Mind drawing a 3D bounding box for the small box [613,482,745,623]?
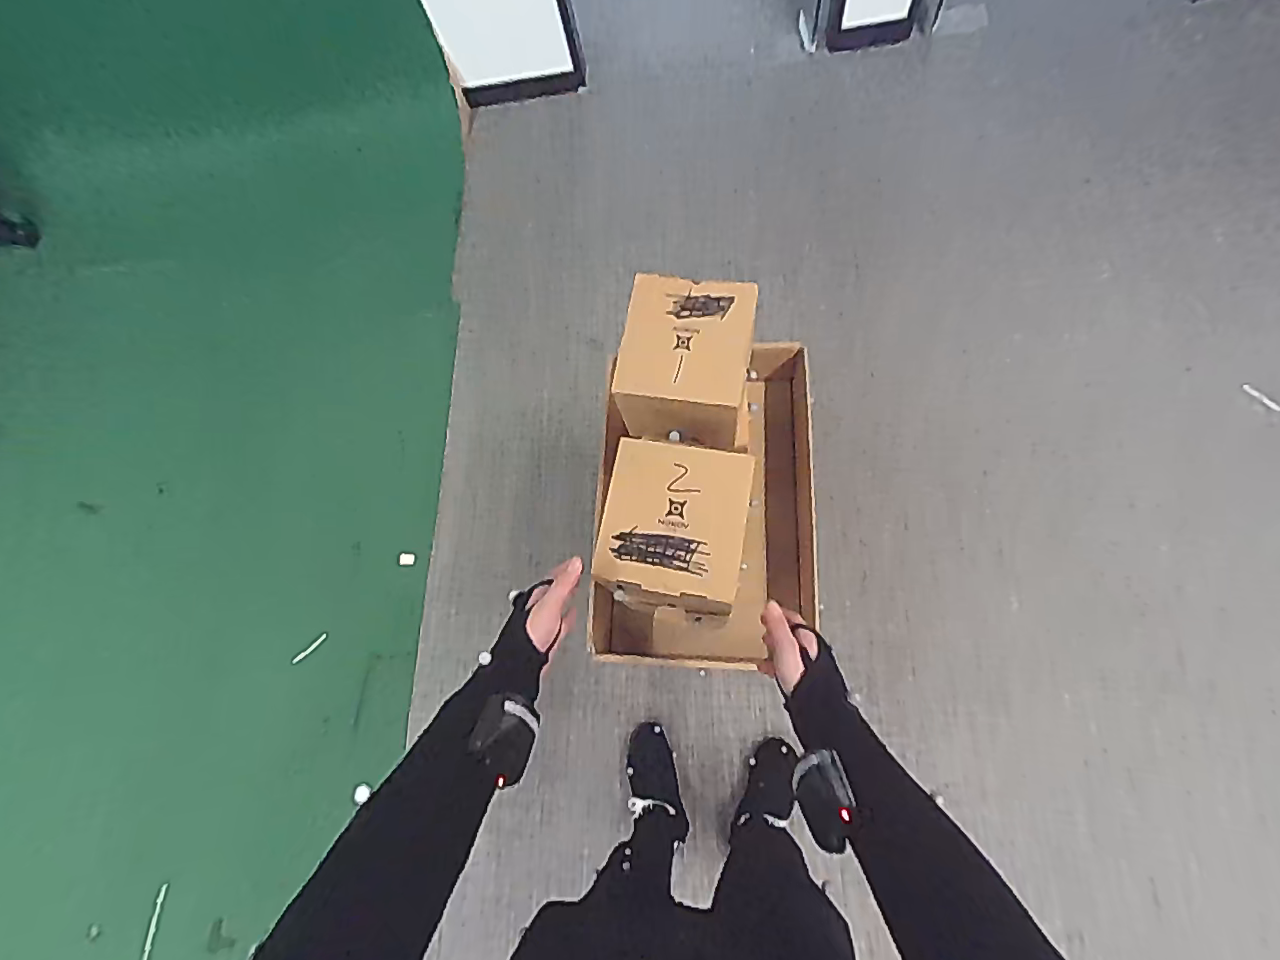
[{"bbox_3d":[0.068,0.121,0.851,0.168,0.176,0.179,9,72,11],"label":"small box"}]

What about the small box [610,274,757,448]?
[{"bbox_3d":[0.067,-0.163,0.773,0.168,0.176,0.179,9,76,11],"label":"small box"}]

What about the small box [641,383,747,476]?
[{"bbox_3d":[0.094,-0.113,0.927,0.168,0.176,0.179,-1,76,7],"label":"small box"}]

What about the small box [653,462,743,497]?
[{"bbox_3d":[0.119,-0.068,1.080,0.168,0.176,0.179,0,74,9],"label":"small box"}]
